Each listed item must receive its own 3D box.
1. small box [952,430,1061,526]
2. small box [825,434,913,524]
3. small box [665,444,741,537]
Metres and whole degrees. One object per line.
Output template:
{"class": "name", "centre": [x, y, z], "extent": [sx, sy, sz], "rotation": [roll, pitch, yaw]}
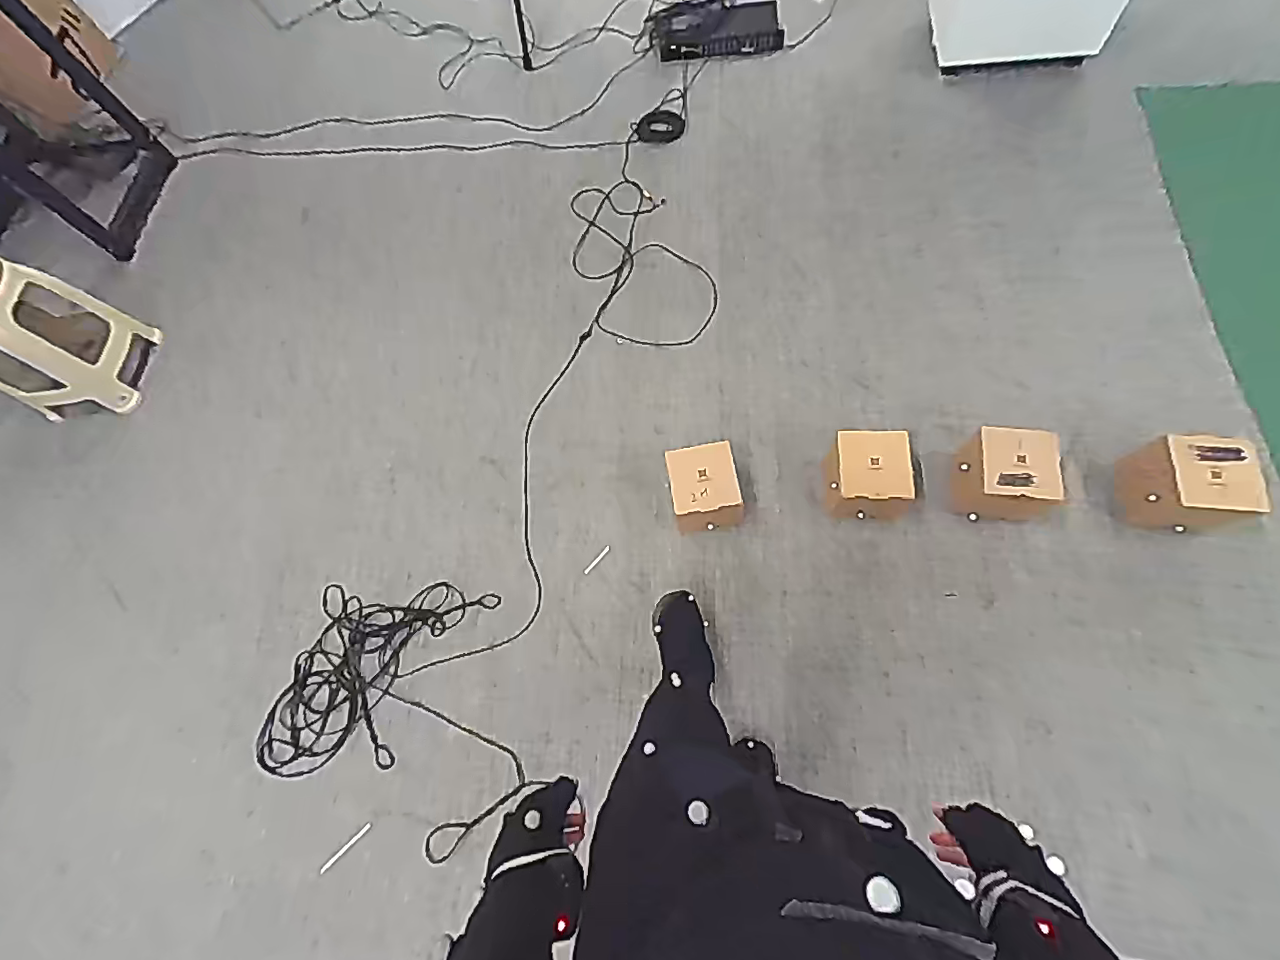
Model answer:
{"class": "small box", "centre": [0.876, 0.001, 1.311], "extent": [0.168, 0.176, 0.179], "rotation": [7, 68, 10]}
{"class": "small box", "centre": [0.565, 0.001, 1.357], "extent": [0.168, 0.176, 0.179], "rotation": [1, 68, 9]}
{"class": "small box", "centre": [0.162, 0.031, 1.402], "extent": [0.168, 0.176, 0.179], "rotation": [-10, 66, 5]}
